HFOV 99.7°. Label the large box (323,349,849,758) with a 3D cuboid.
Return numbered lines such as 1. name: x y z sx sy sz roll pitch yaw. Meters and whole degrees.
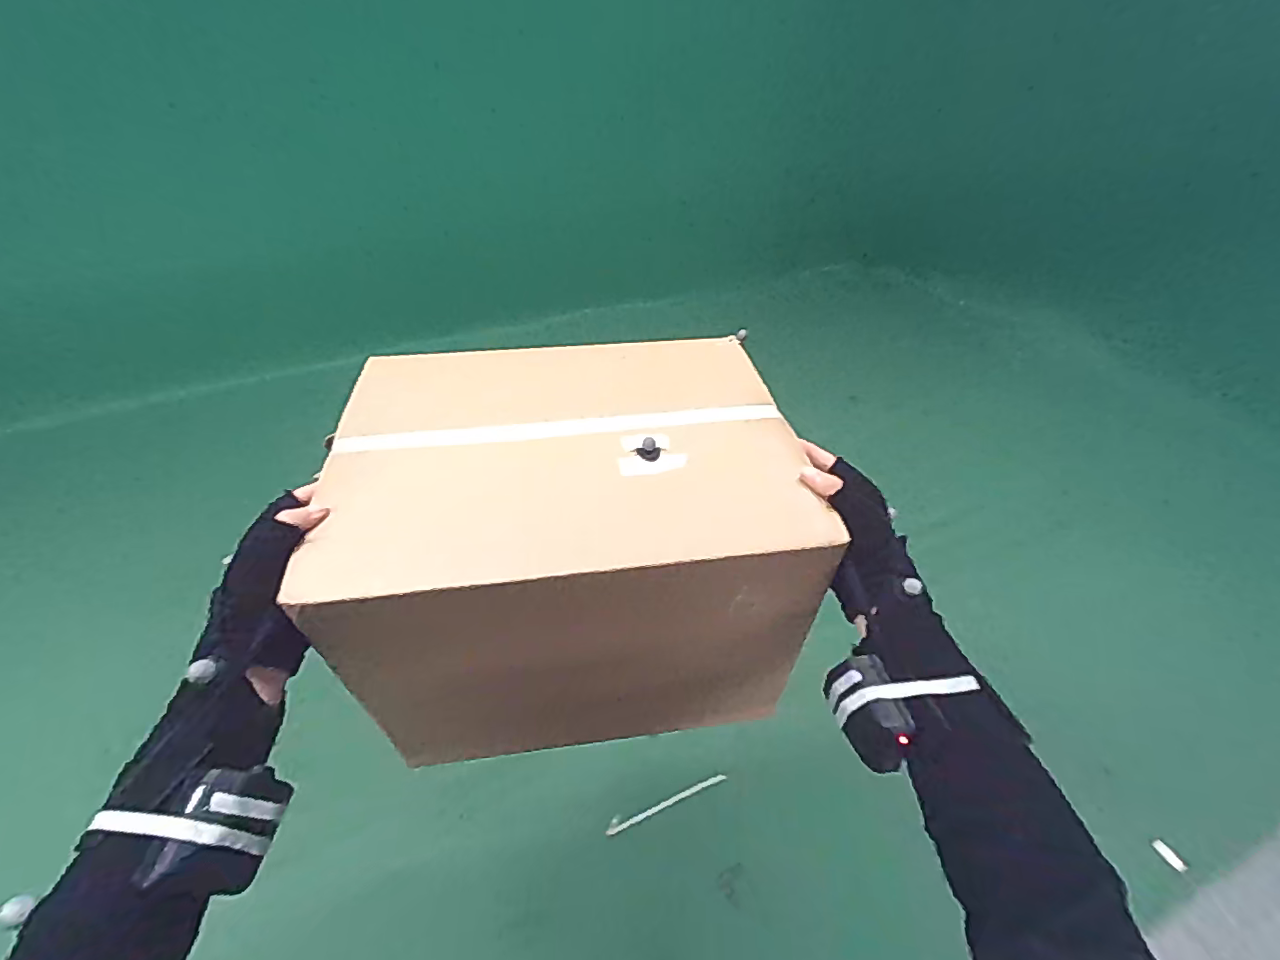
1. large box: -0.056 0.072 0.608 0.408 0.320 0.320 -4 45 -7
